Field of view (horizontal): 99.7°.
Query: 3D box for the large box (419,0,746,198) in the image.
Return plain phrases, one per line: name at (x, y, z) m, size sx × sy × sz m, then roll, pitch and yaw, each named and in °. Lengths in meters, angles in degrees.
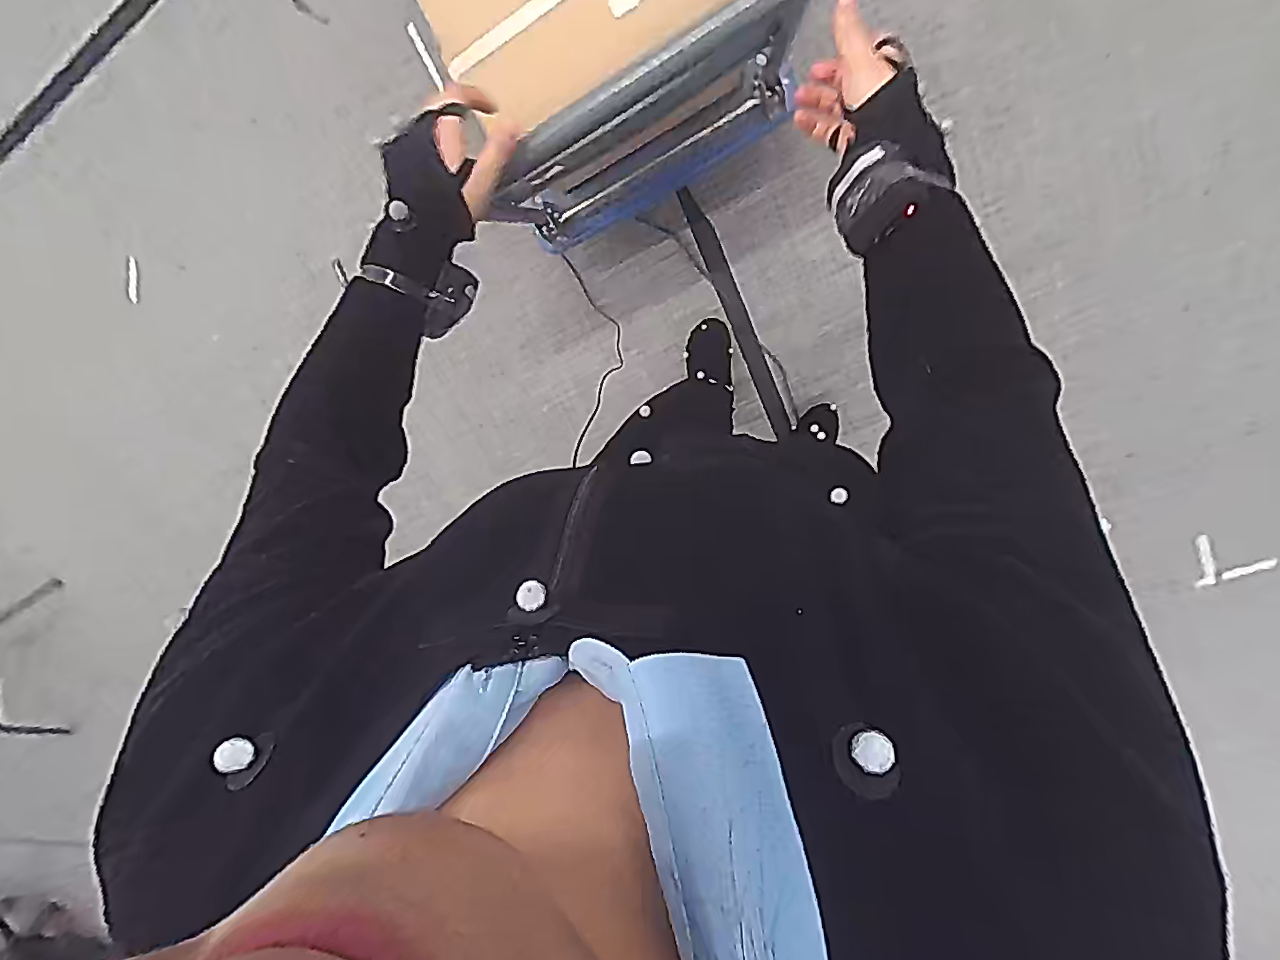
large box at (-0.077, -0.731, 0.889) m, size 0.408 × 0.320 × 0.320 m, roll -23°, pitch 108°, yaw 16°
